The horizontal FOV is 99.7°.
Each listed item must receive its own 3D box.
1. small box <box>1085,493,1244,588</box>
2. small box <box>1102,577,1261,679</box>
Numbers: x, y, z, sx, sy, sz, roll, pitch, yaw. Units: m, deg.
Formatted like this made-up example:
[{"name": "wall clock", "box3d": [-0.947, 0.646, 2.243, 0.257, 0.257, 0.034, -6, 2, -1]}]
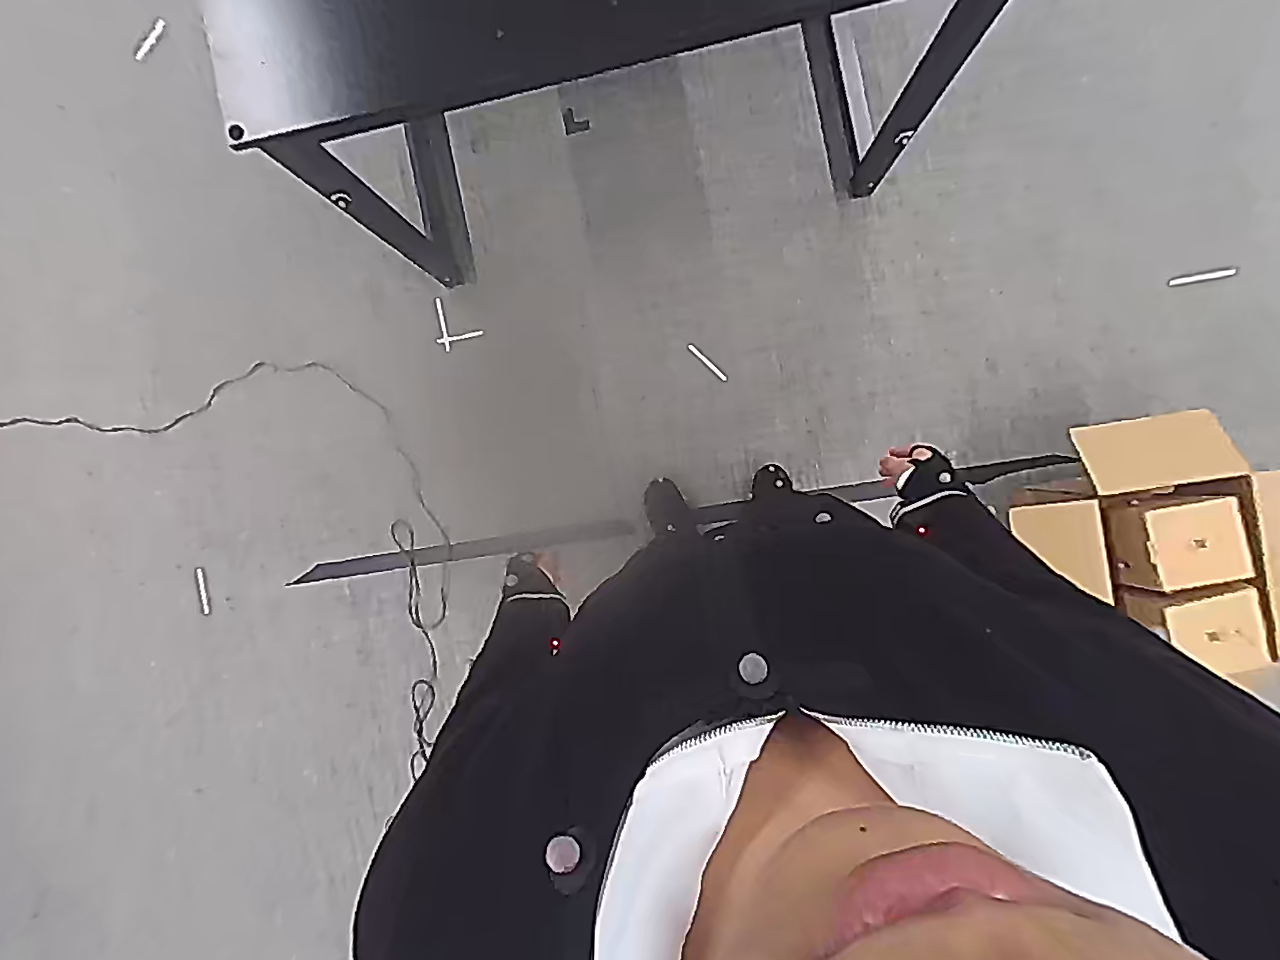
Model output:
[{"name": "small box", "box3d": [1.111, 0.124, 1.166, 0.179, 0.176, 0.168, -12, 89, 3]}, {"name": "small box", "box3d": [1.151, 0.299, 1.169, 0.179, 0.176, 0.168, -16, 95, 5]}]
